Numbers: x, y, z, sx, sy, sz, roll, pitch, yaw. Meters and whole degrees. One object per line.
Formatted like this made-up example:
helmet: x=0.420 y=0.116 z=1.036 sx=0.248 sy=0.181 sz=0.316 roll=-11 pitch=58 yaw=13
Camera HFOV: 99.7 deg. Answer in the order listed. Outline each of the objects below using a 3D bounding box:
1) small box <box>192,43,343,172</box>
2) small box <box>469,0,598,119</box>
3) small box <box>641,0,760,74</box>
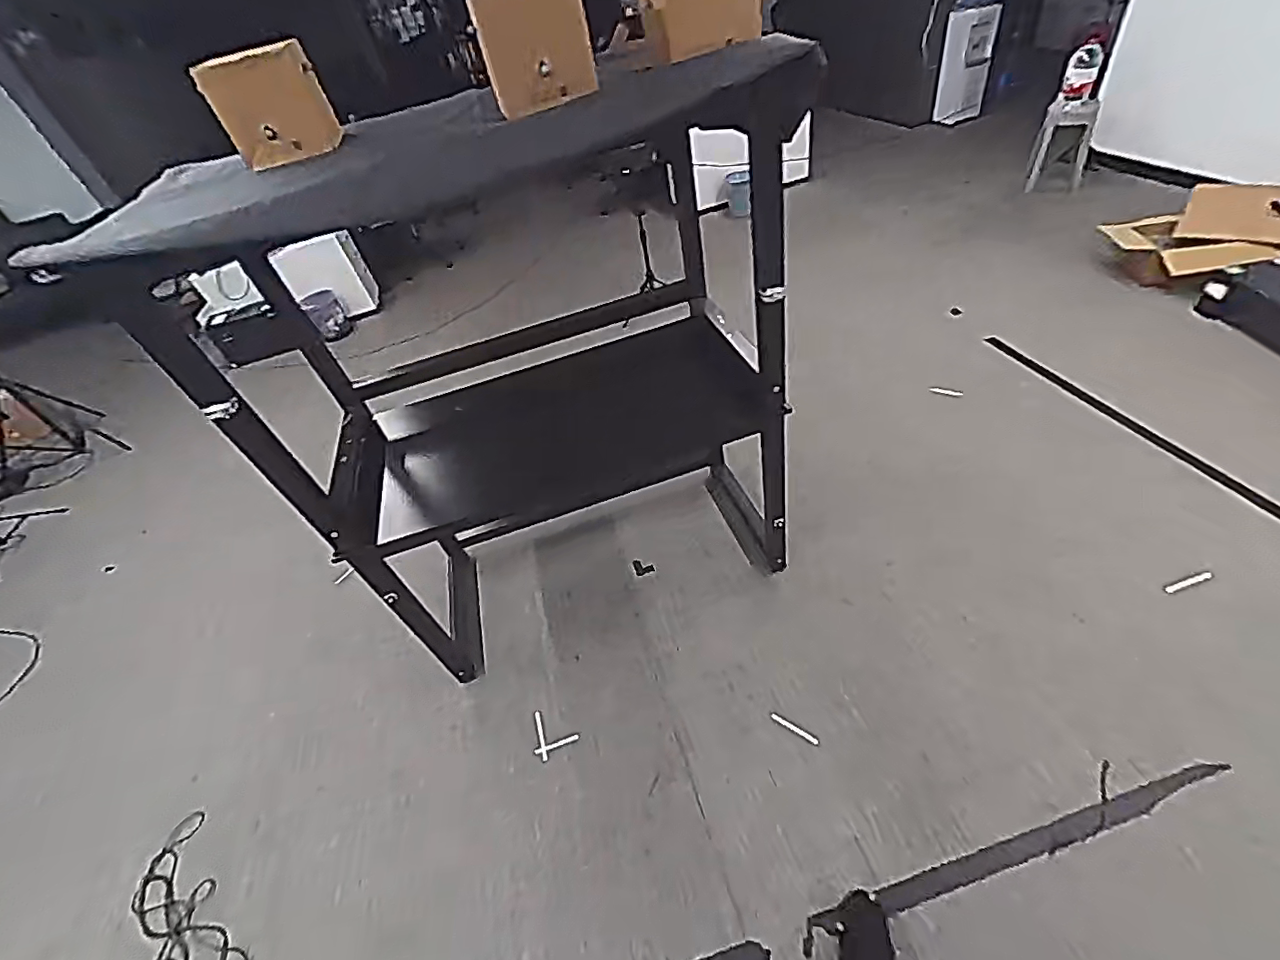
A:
small box: x=-0.708 y=-0.724 z=1.054 sx=0.168 sy=0.176 sz=0.179 roll=-20 pitch=45 yaw=-5
small box: x=-0.183 y=-0.740 z=0.927 sx=0.168 sy=0.176 sz=0.179 roll=-19 pitch=43 yaw=-4
small box: x=0.100 y=-0.837 z=0.949 sx=0.168 sy=0.176 sz=0.179 roll=-18 pitch=43 yaw=-3
